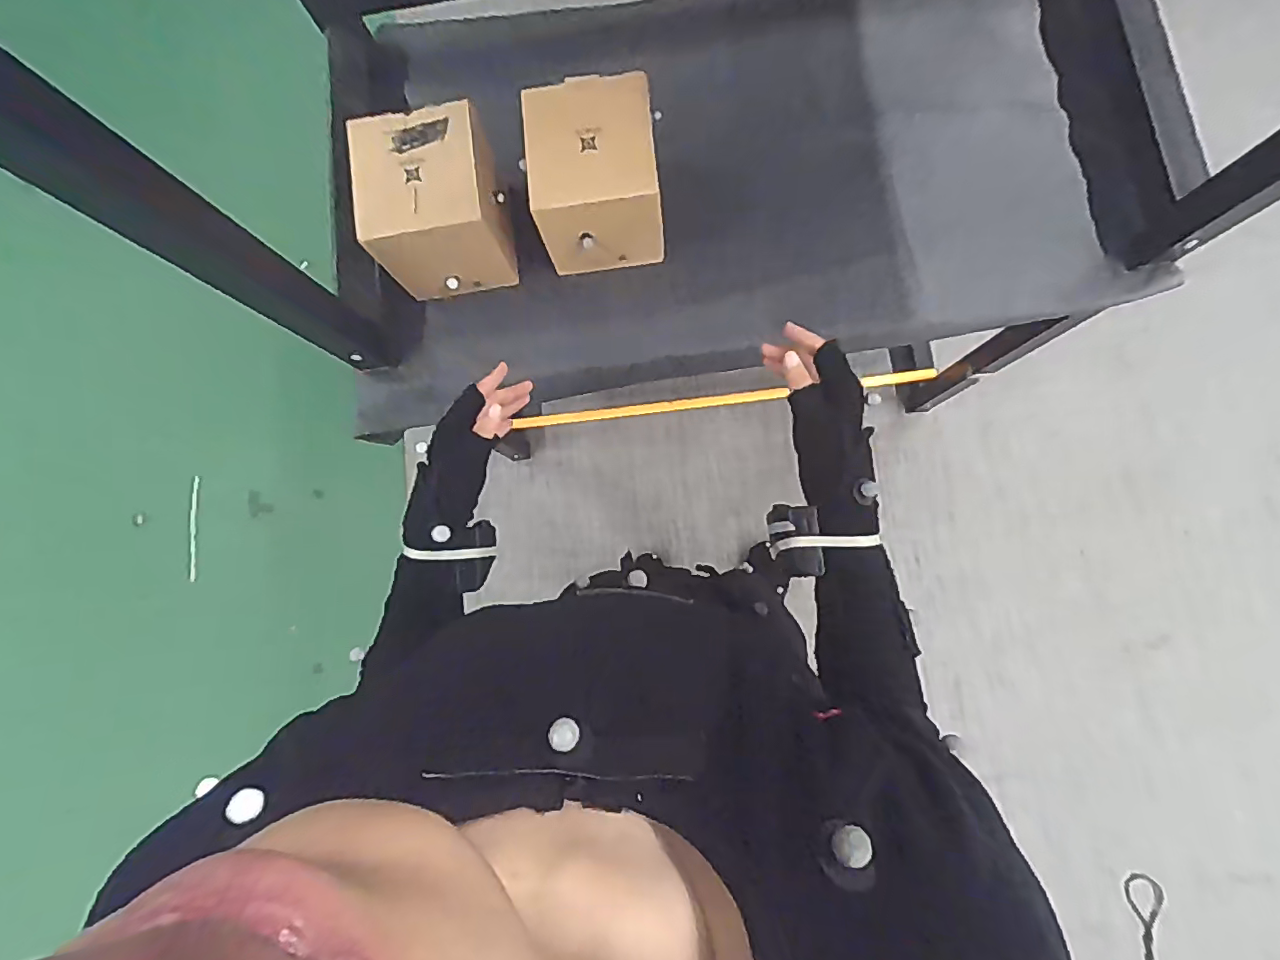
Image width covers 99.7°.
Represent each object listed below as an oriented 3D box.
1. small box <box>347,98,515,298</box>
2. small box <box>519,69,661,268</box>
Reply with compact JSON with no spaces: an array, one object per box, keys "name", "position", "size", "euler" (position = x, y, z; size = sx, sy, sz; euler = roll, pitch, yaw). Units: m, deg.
[{"name":"small box","position":[-0.286,-0.387,0.768],"size":[0.168,0.176,0.179],"euler":[-9,82,3]},{"name":"small box","position":[-0.061,-0.418,0.759],"size":[0.168,0.176,0.179],"euler":[-7,81,3]}]
